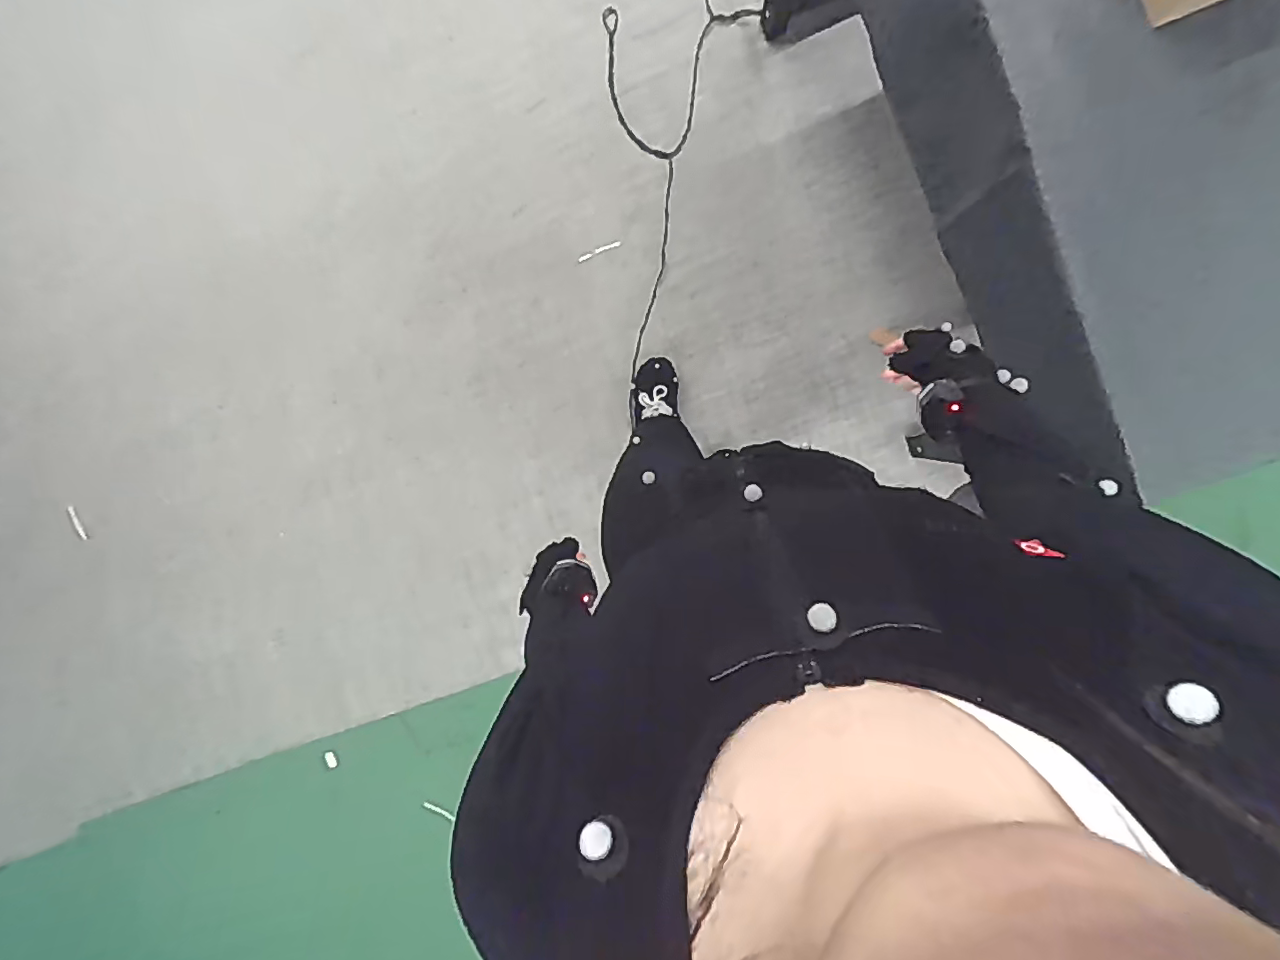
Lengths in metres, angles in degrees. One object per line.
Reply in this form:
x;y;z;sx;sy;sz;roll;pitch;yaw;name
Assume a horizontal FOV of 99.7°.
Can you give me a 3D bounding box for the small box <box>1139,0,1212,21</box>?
0.664;-0.647;0.562;0.179;0.176;0.168;-20;94;6;small box
